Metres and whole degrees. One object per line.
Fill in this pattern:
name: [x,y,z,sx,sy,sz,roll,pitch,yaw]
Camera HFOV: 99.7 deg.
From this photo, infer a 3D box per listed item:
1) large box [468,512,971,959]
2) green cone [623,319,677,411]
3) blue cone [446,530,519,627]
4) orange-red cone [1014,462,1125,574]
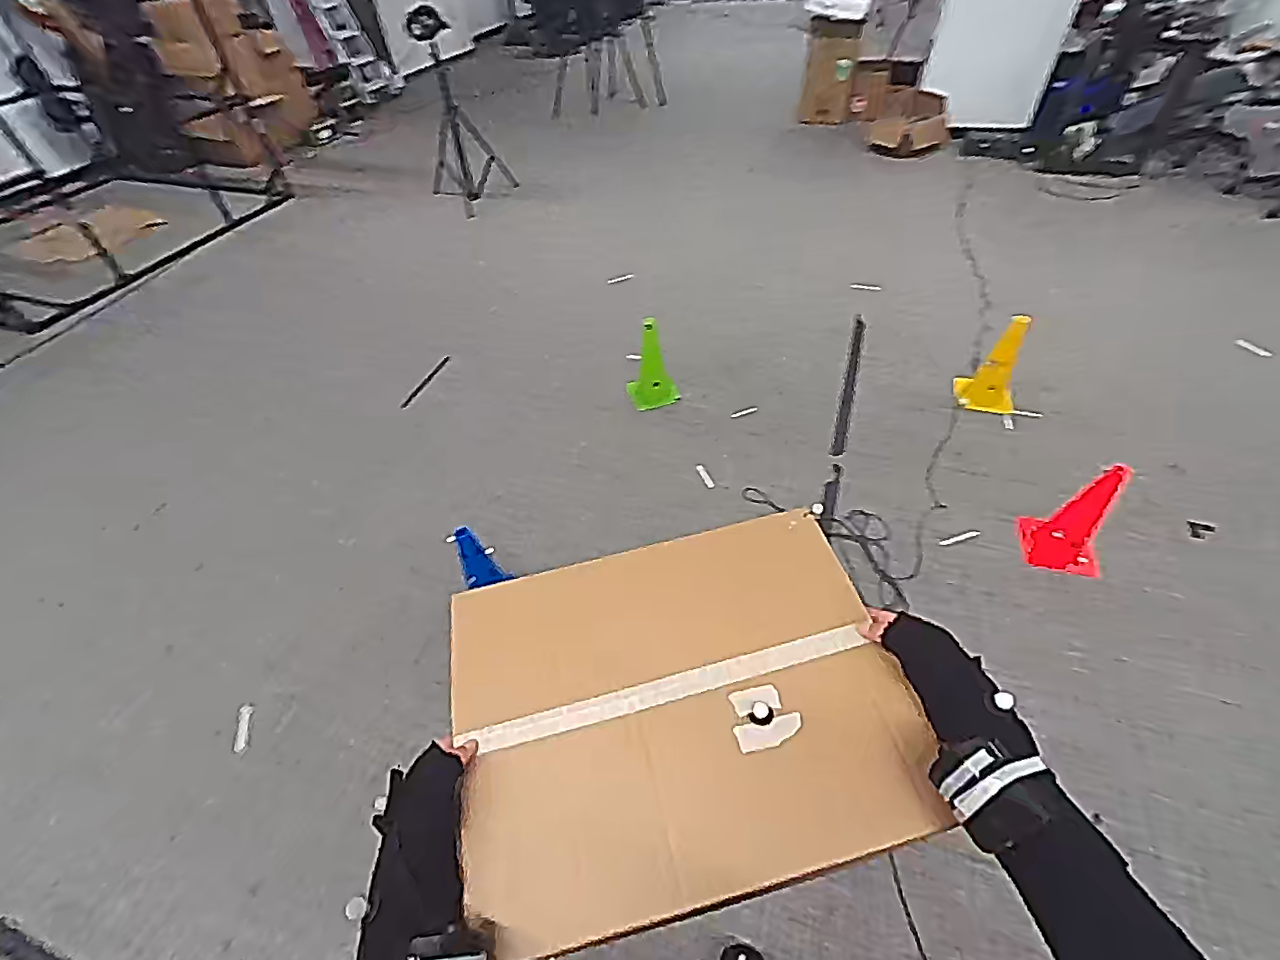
large box: [0.051,0.288,0.619,0.408,0.320,0.320,-13,51,-5]
green cone: [0.028,-0.499,2.230,0.202,0.368,0.200,-17,48,-9]
blue cone: [-0.479,0.276,1.580,0.192,0.380,0.193,14,50,18]
orange-red cone: [1.300,0.082,1.592,0.198,0.360,0.199,11,48,13]
